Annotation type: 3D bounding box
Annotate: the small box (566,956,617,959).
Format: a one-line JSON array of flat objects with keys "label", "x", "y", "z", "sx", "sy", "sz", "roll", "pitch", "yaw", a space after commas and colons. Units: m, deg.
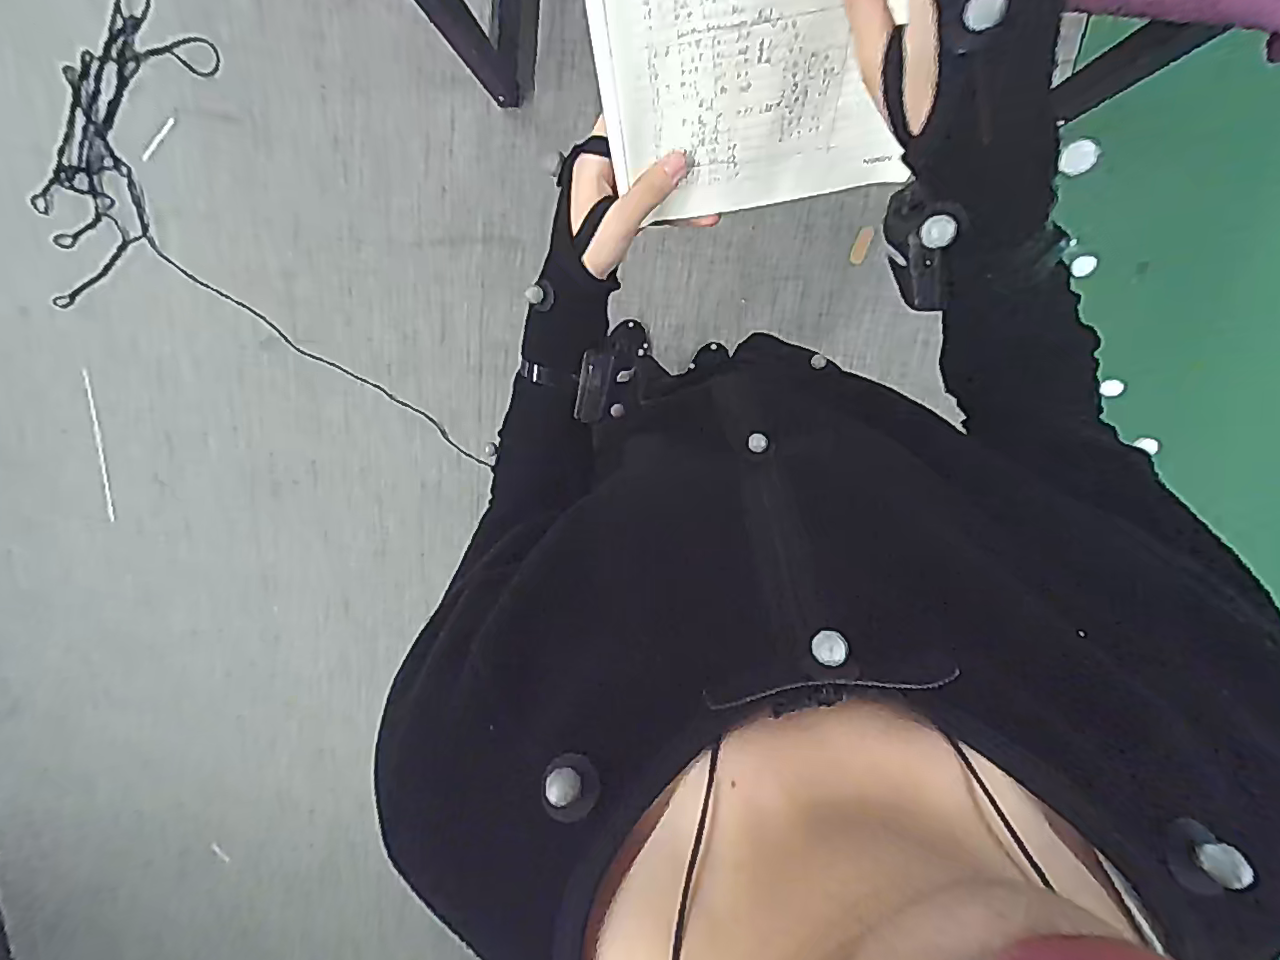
[{"label": "small box", "x": -0.115, "y": 1.345, "z": 1.357, "sx": 0.168, "sy": 0.176, "sz": 0.179, "roll": -7, "pitch": 103, "yaw": 7}]
